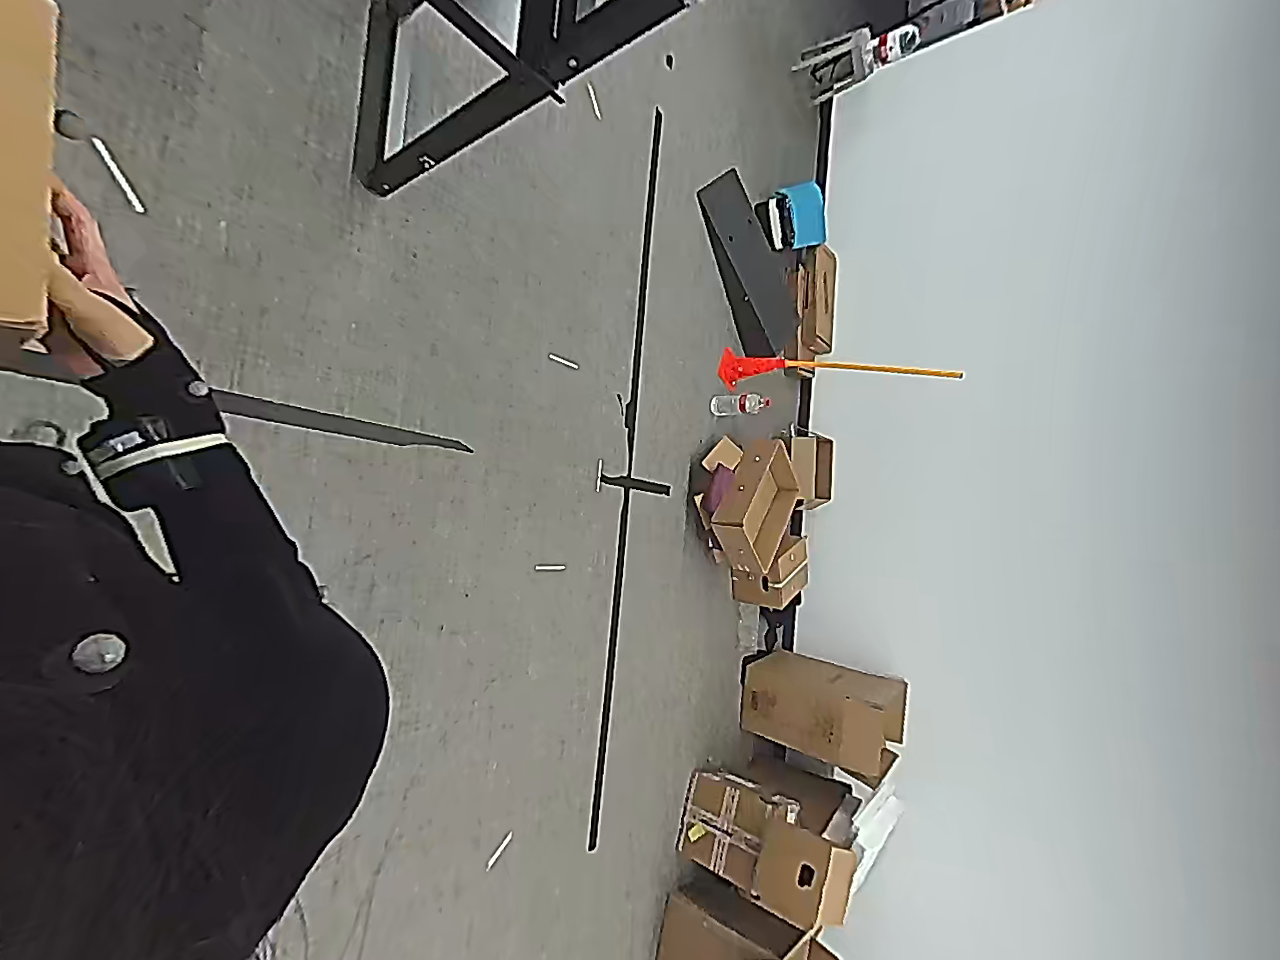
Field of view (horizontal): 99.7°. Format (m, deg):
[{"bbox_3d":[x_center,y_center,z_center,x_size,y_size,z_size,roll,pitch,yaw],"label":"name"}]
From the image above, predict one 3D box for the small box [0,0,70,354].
[{"bbox_3d":[-0.422,-0.170,0.269,0.168,0.176,0.179,2,91,-54],"label":"small box"}]
